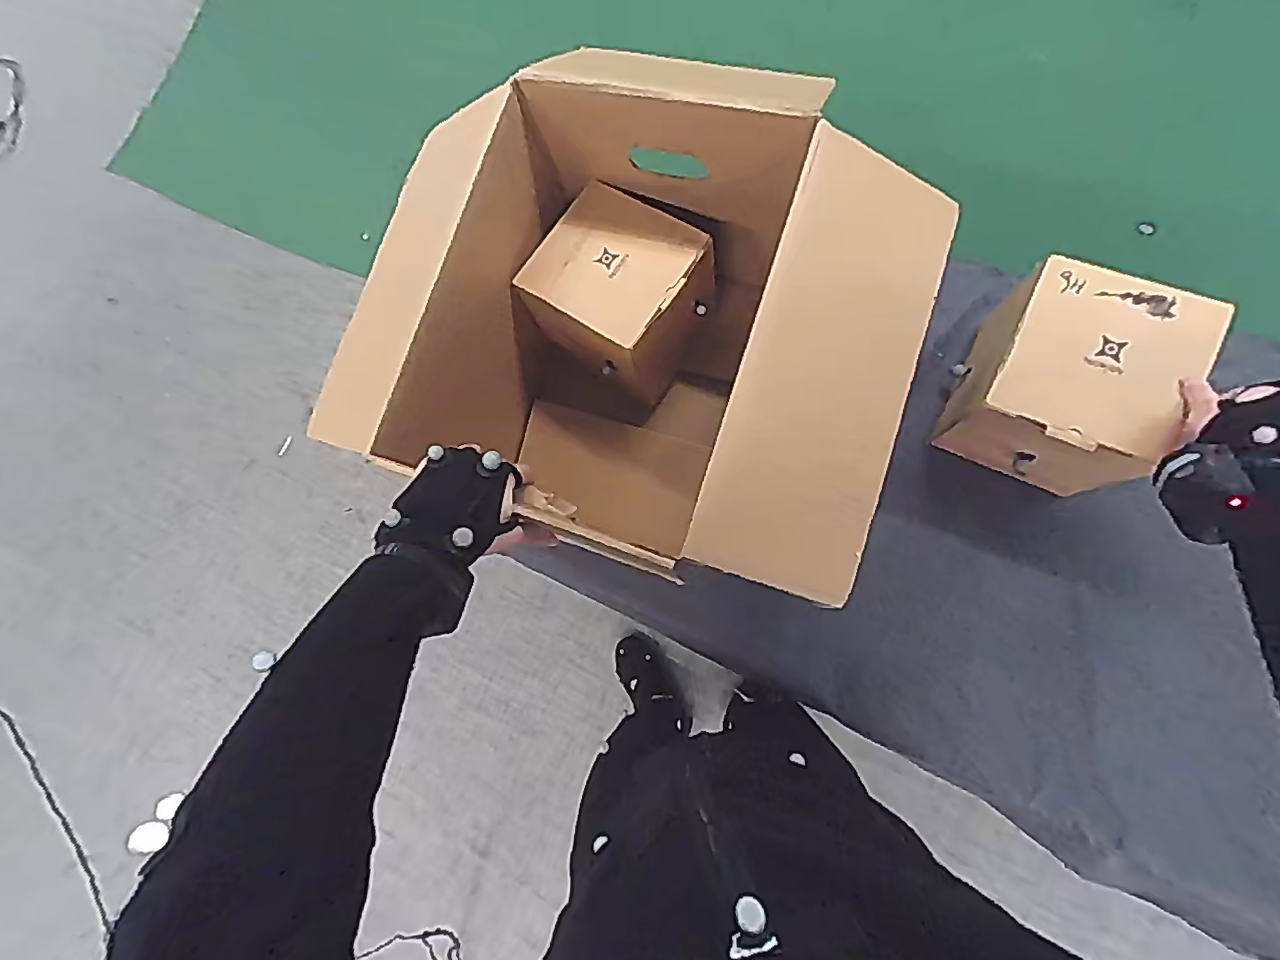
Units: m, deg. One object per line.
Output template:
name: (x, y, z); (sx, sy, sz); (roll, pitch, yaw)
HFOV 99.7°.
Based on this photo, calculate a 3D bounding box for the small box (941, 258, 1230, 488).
small box: (0.469, -0.105, 0.607); (0.168, 0.176, 0.179); (26, 87, 13)
